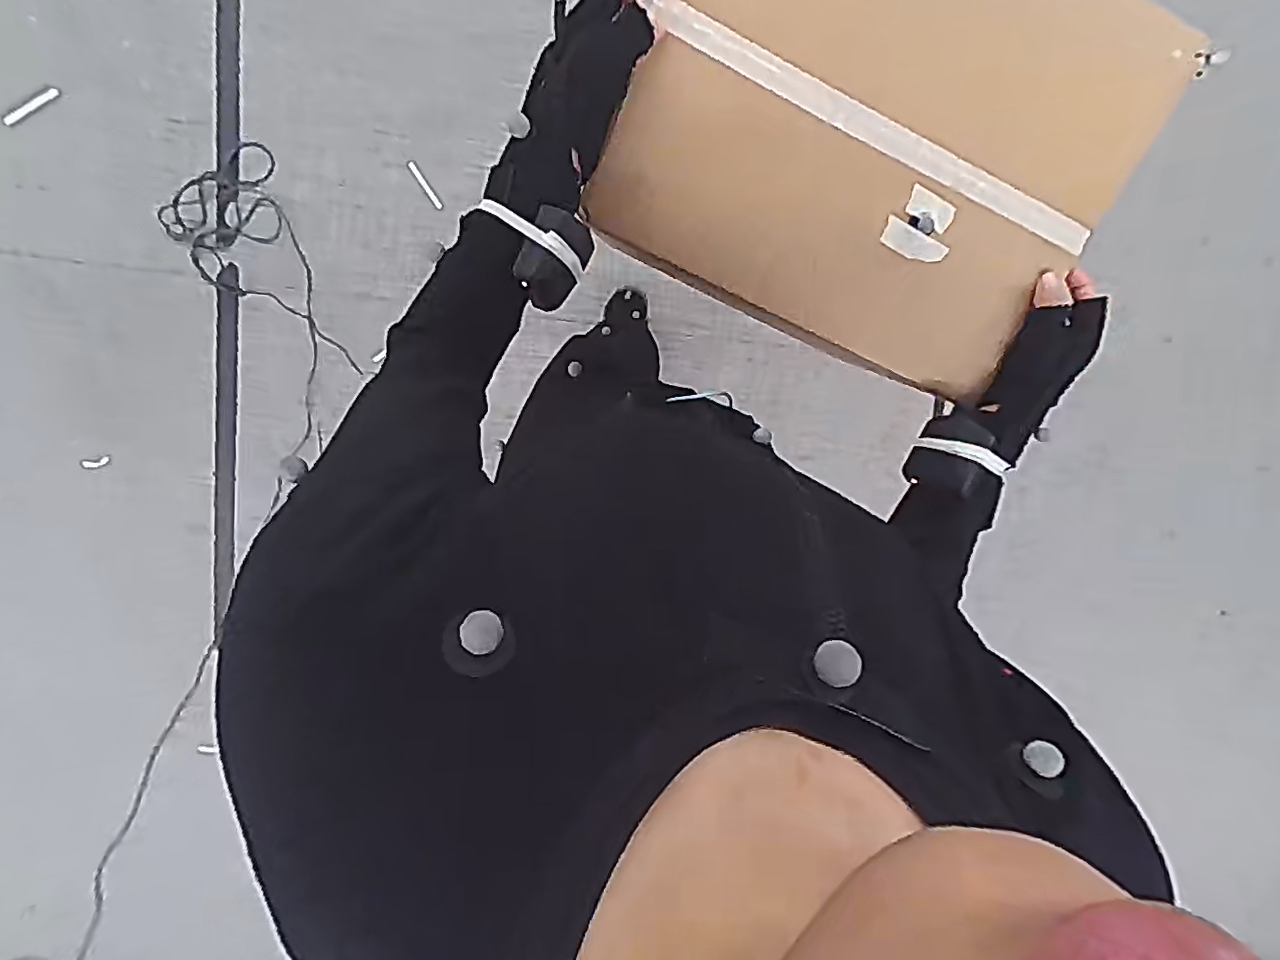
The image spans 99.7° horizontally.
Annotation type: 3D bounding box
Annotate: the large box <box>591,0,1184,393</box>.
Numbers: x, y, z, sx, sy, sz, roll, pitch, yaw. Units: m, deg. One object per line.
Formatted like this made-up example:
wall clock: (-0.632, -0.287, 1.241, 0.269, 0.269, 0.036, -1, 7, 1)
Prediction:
large box: (0.191, -0.337, 0.586, 0.408, 0.320, 0.320, 23, 109, -10)
